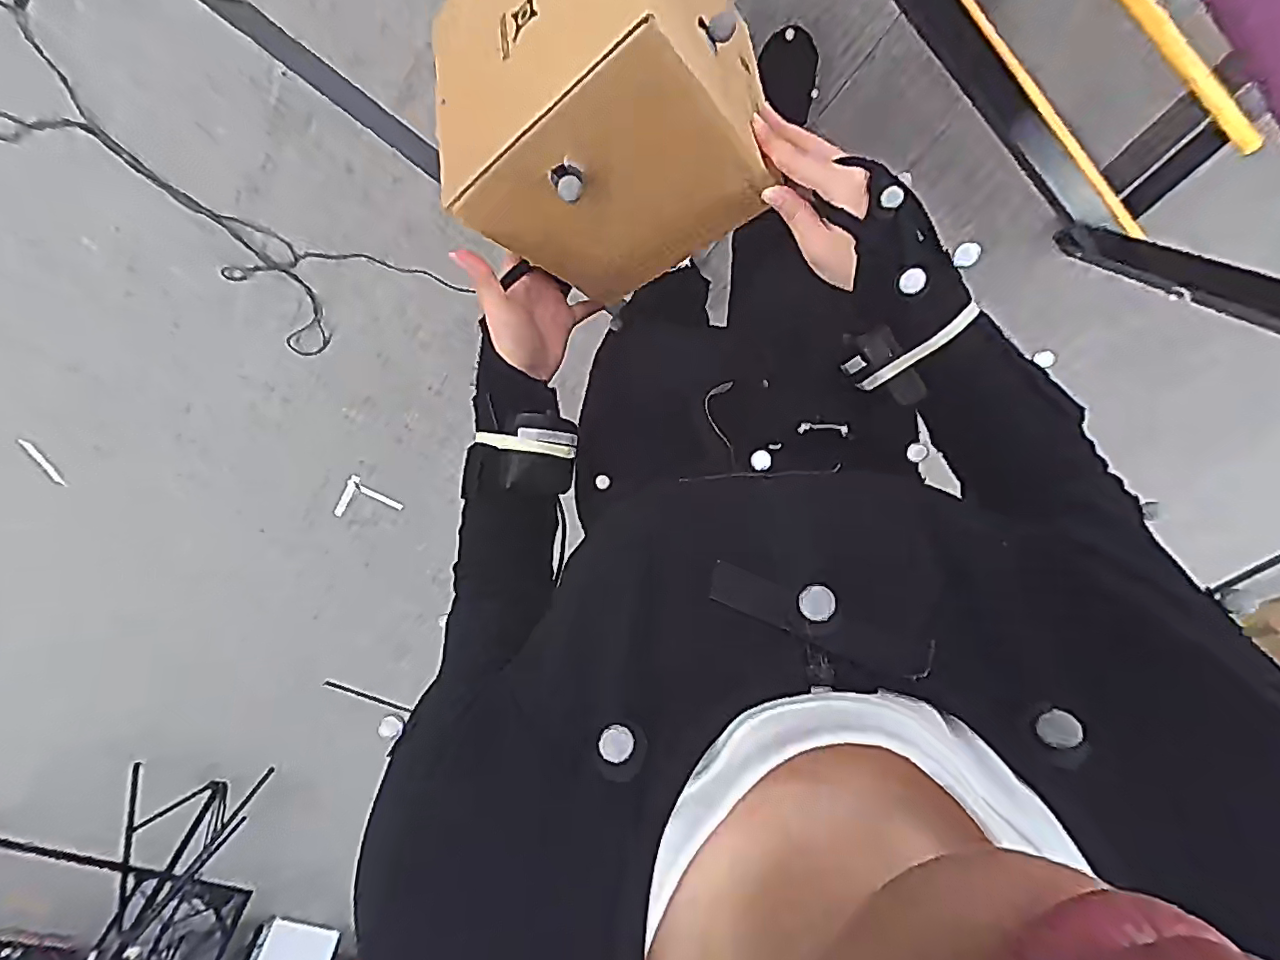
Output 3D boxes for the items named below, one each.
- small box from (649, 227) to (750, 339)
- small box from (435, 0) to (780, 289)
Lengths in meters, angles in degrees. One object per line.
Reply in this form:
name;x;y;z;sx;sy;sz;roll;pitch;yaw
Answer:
small box;0.114;-0.400;1.099;0.179;0.176;0.168;-11;122;7
small box;-0.018;-0.269;0.380;0.179;0.168;0.176;-20;161;36
